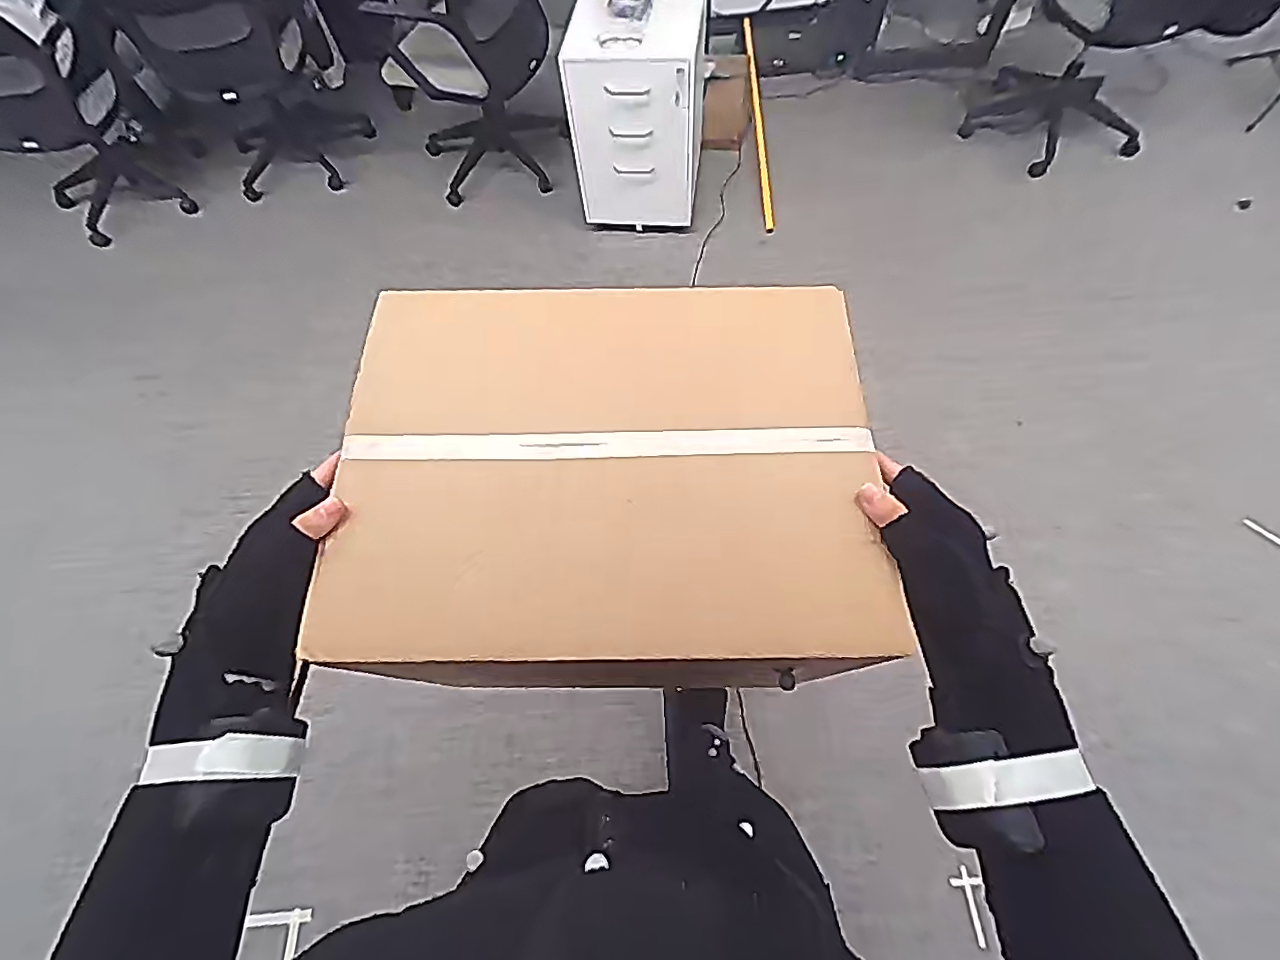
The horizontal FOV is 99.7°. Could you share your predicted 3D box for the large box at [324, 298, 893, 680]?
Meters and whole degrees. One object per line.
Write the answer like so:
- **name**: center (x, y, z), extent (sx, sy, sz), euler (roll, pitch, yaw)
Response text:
- **large box**: center (-0.021, 0.038, 0.567), extent (0.408, 0.320, 0.320), euler (-1, 66, 1)
